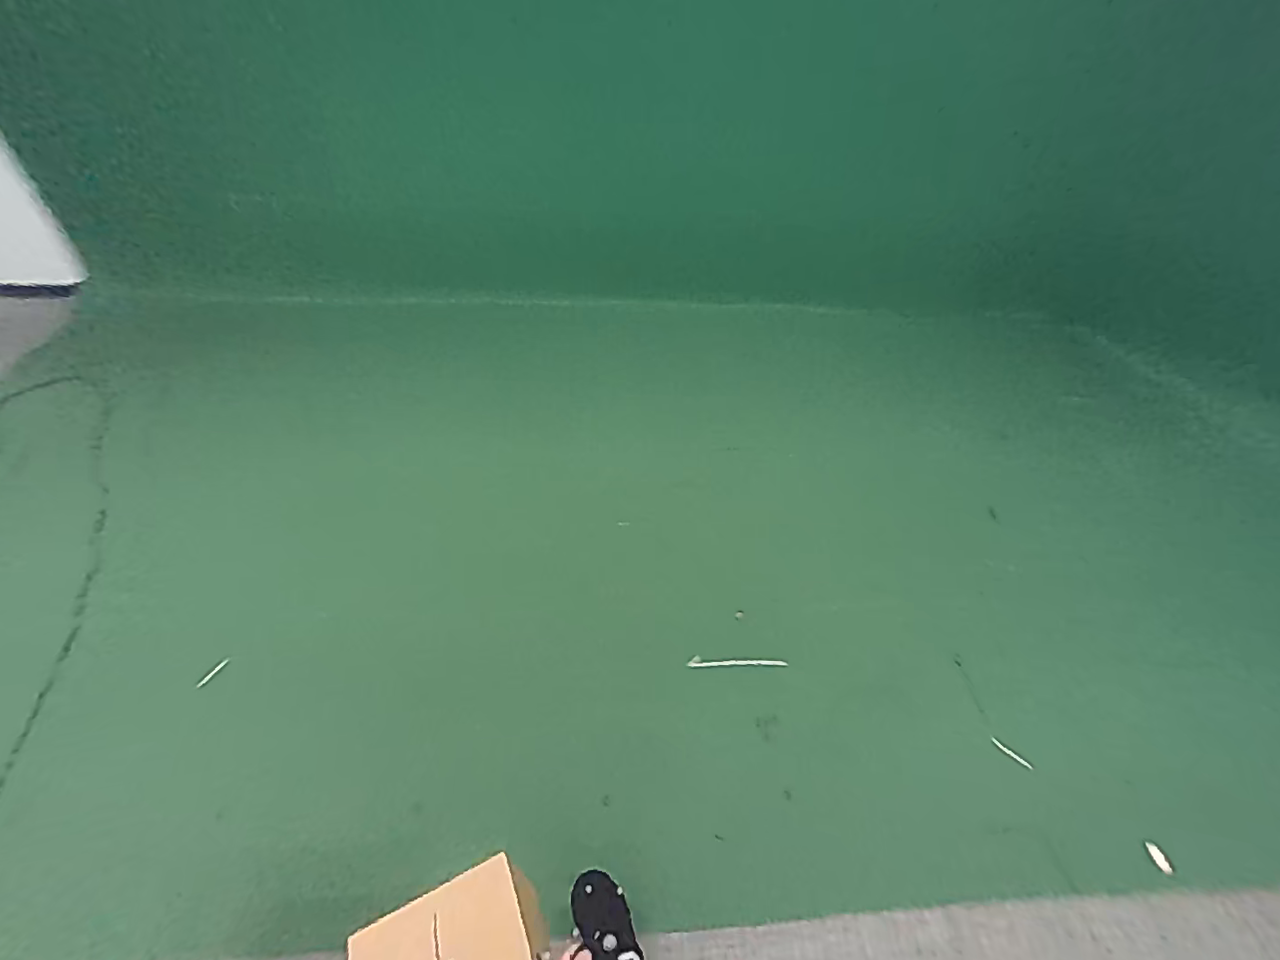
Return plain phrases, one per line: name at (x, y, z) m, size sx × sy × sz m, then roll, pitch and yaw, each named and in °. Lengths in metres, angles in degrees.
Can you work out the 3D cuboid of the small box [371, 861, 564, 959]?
small box at (-0.163, 0.558, 0.571) m, size 0.168 × 0.176 × 0.179 m, roll -19°, pitch 41°, yaw -17°
